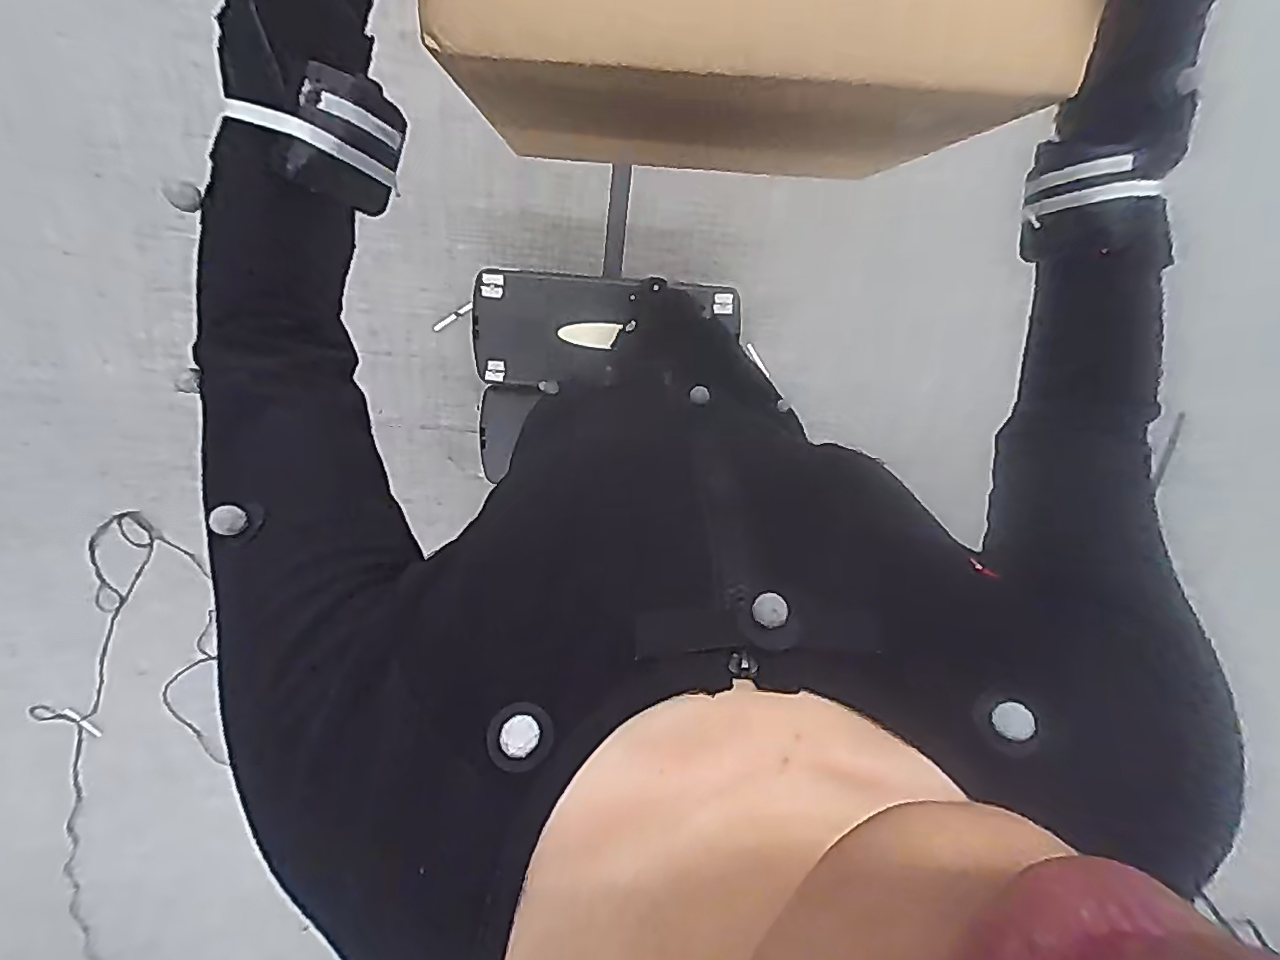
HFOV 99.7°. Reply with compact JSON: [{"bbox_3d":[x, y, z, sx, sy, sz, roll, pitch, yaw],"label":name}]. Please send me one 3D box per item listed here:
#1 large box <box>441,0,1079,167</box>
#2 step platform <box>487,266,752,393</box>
[{"bbox_3d":[0.072,-0.457,0.427,0.408,0.320,0.320,1,111,-4],"label":"large box"},{"bbox_3d":[-0.053,-0.396,1.438,0.684,0.204,0.286,2,108,-6],"label":"step platform"}]
